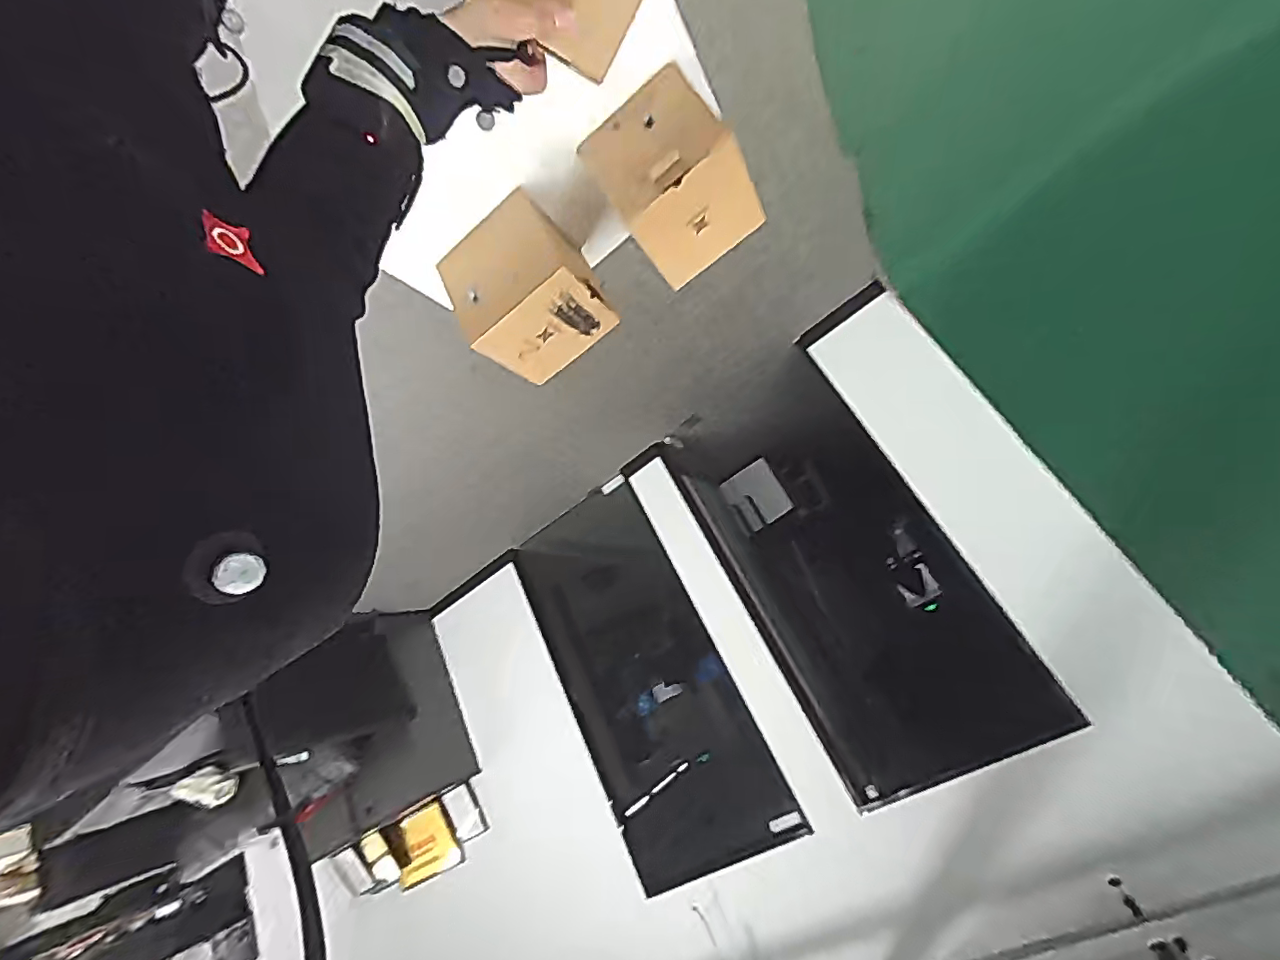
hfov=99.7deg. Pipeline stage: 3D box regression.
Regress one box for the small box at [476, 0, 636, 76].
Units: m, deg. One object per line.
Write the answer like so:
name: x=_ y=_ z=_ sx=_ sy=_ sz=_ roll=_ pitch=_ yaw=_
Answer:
small box: x=-0.077 y=-0.465 z=0.407 sx=0.168 sy=0.176 sz=0.179 roll=8 pitch=136 yaw=-35

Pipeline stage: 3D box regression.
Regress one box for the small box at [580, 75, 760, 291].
small box: x=0.044 y=-0.419 z=0.778 sx=0.168 sy=0.176 sz=0.179 roll=-34 pitch=157 yaw=17
